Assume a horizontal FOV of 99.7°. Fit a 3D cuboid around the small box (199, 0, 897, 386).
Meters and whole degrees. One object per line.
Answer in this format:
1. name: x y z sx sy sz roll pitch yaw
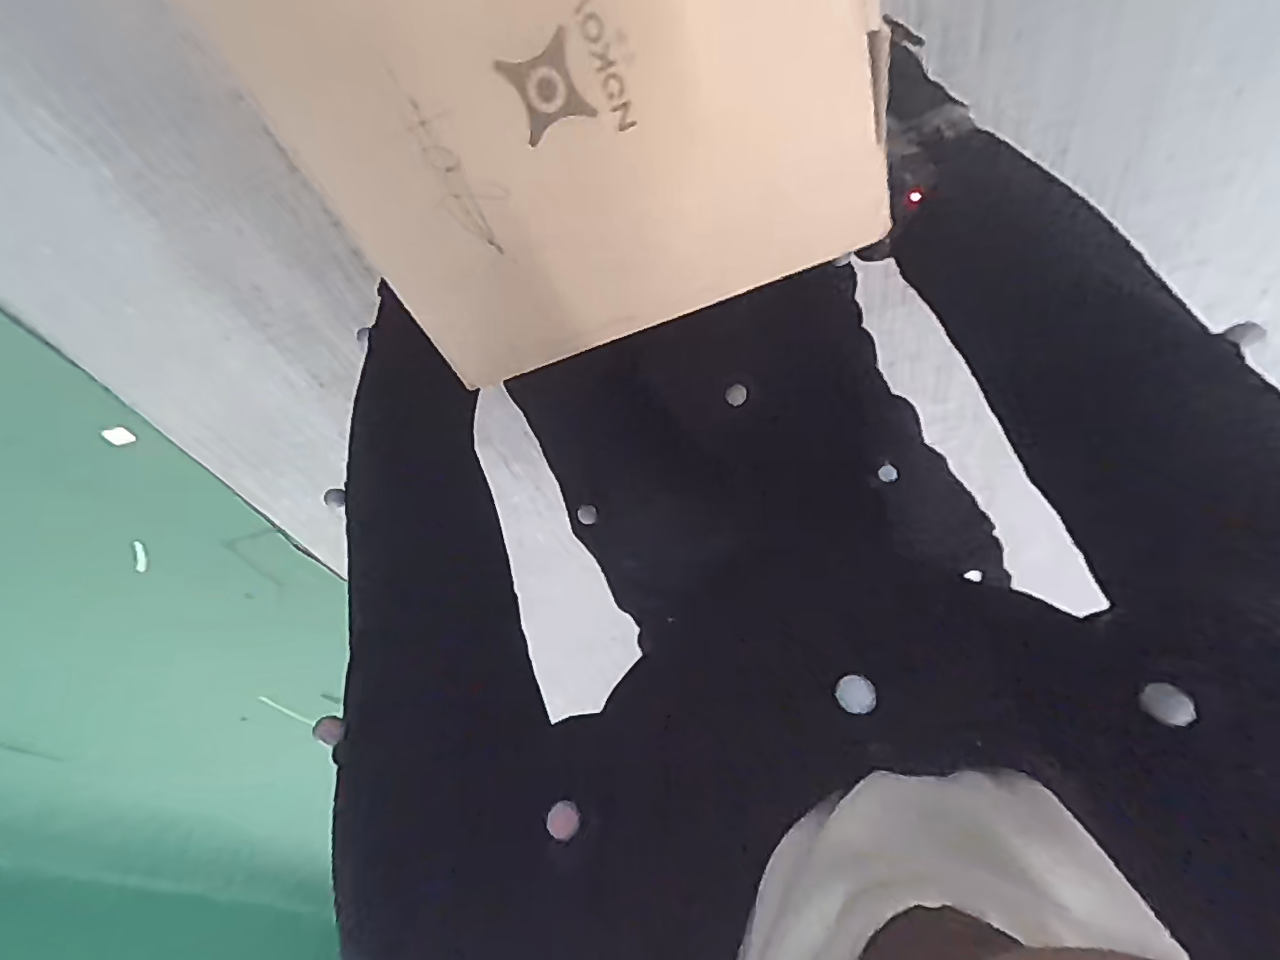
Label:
1. small box: -0.015 -0.171 0.217 0.179 0.176 0.168 -13 132 19
